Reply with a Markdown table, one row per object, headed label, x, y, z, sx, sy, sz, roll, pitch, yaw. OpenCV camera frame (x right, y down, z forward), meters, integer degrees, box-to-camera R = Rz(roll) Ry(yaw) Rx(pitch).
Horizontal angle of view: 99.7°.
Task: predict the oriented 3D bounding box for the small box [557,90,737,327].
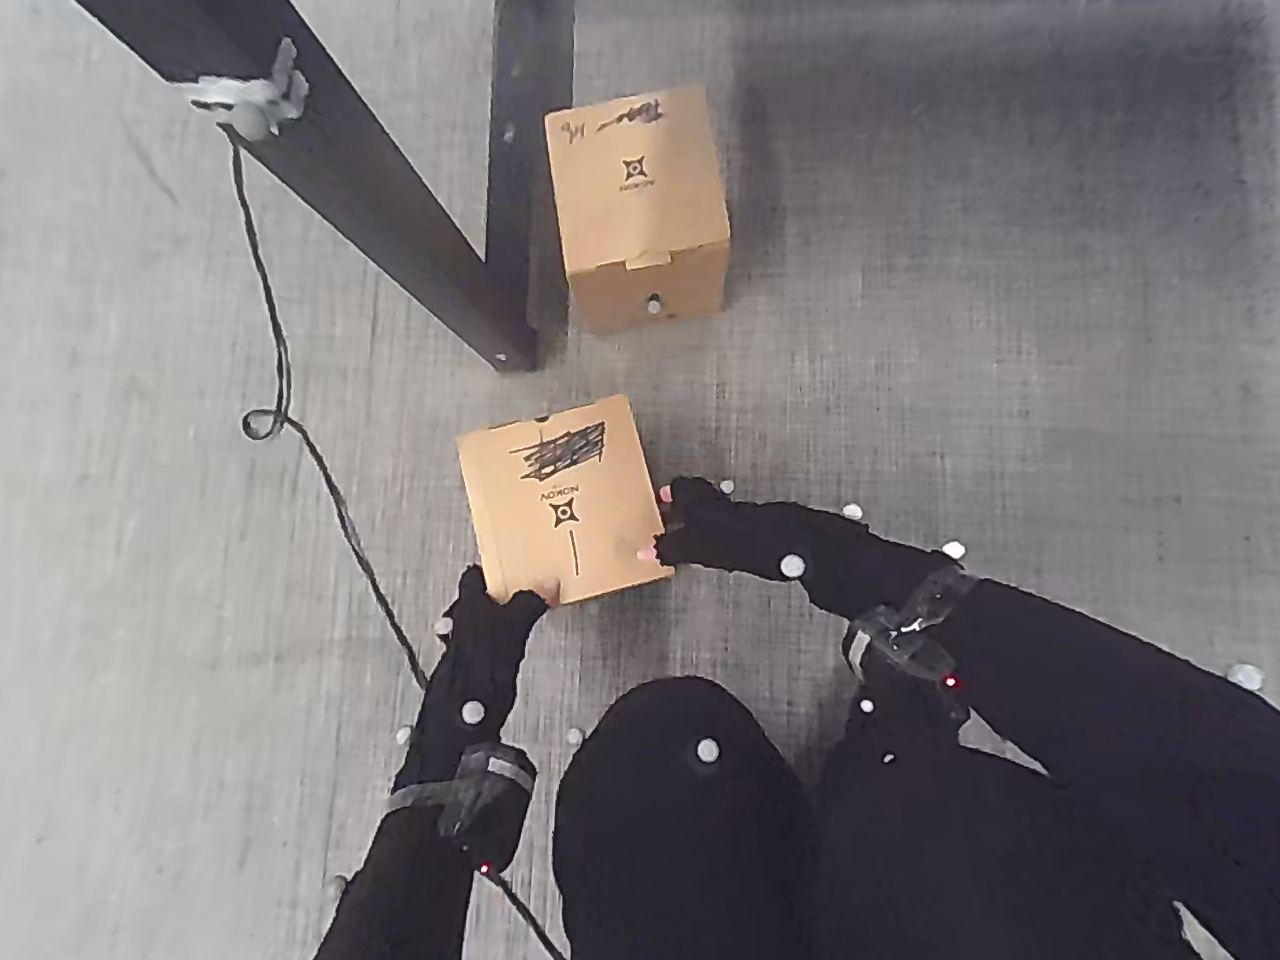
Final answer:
| label | x | y | z | sx | sy | sz | roll | pitch | yaw |
| --- | --- | --- | --- | --- | --- | --- | --- | --- | --- |
| small box | 0.011 | -0.287 | 0.615 | 0.168 | 0.176 | 0.179 | -8 | 84 | 2 |
